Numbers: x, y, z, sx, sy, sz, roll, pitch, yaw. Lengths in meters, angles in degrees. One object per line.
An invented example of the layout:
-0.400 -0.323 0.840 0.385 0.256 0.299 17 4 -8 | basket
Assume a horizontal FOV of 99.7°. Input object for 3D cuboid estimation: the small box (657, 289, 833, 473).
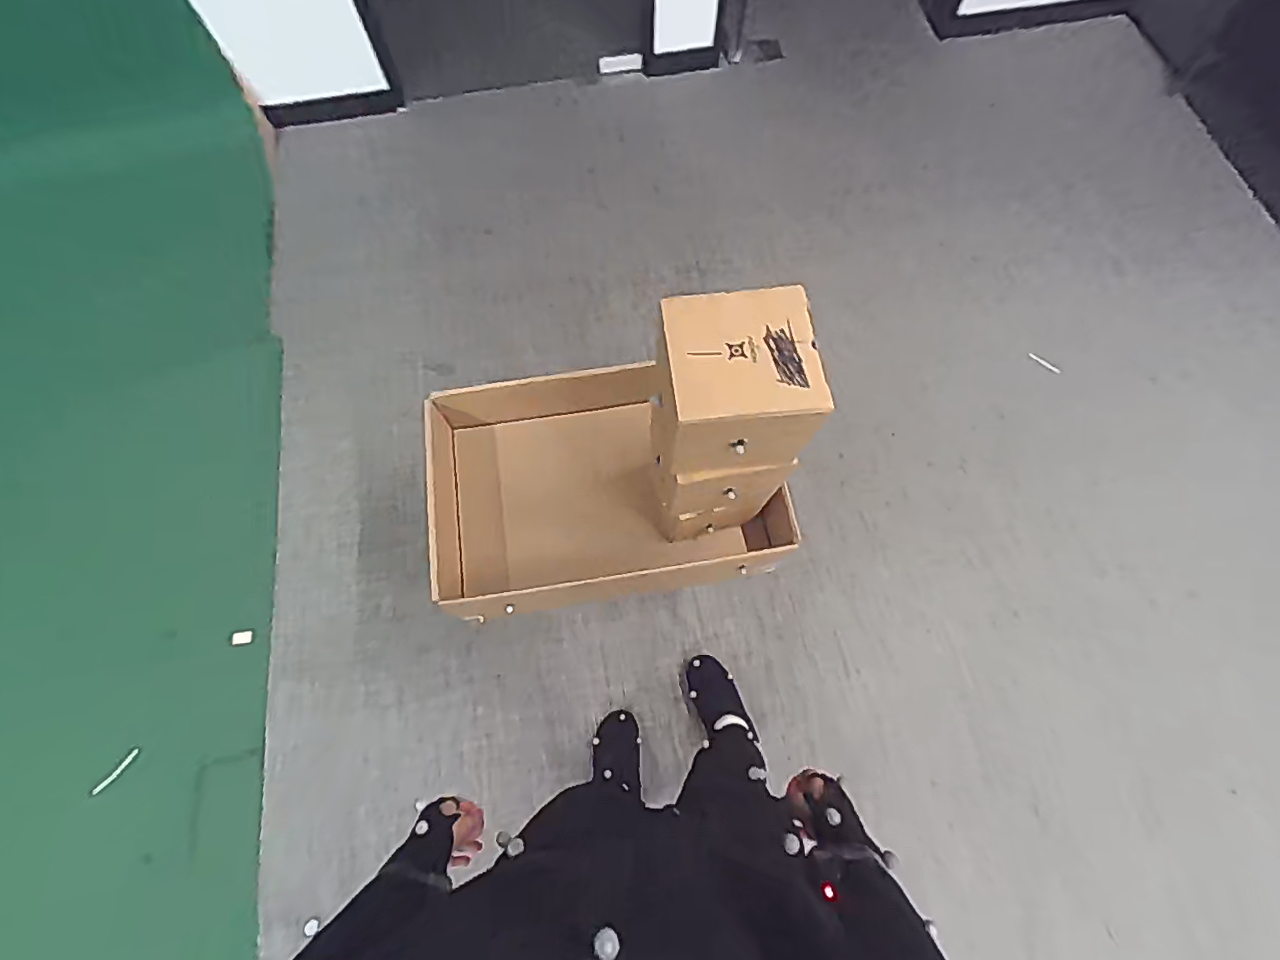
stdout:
0.118 -0.117 0.689 0.179 0.176 0.168 -6 70 -2 | small box
